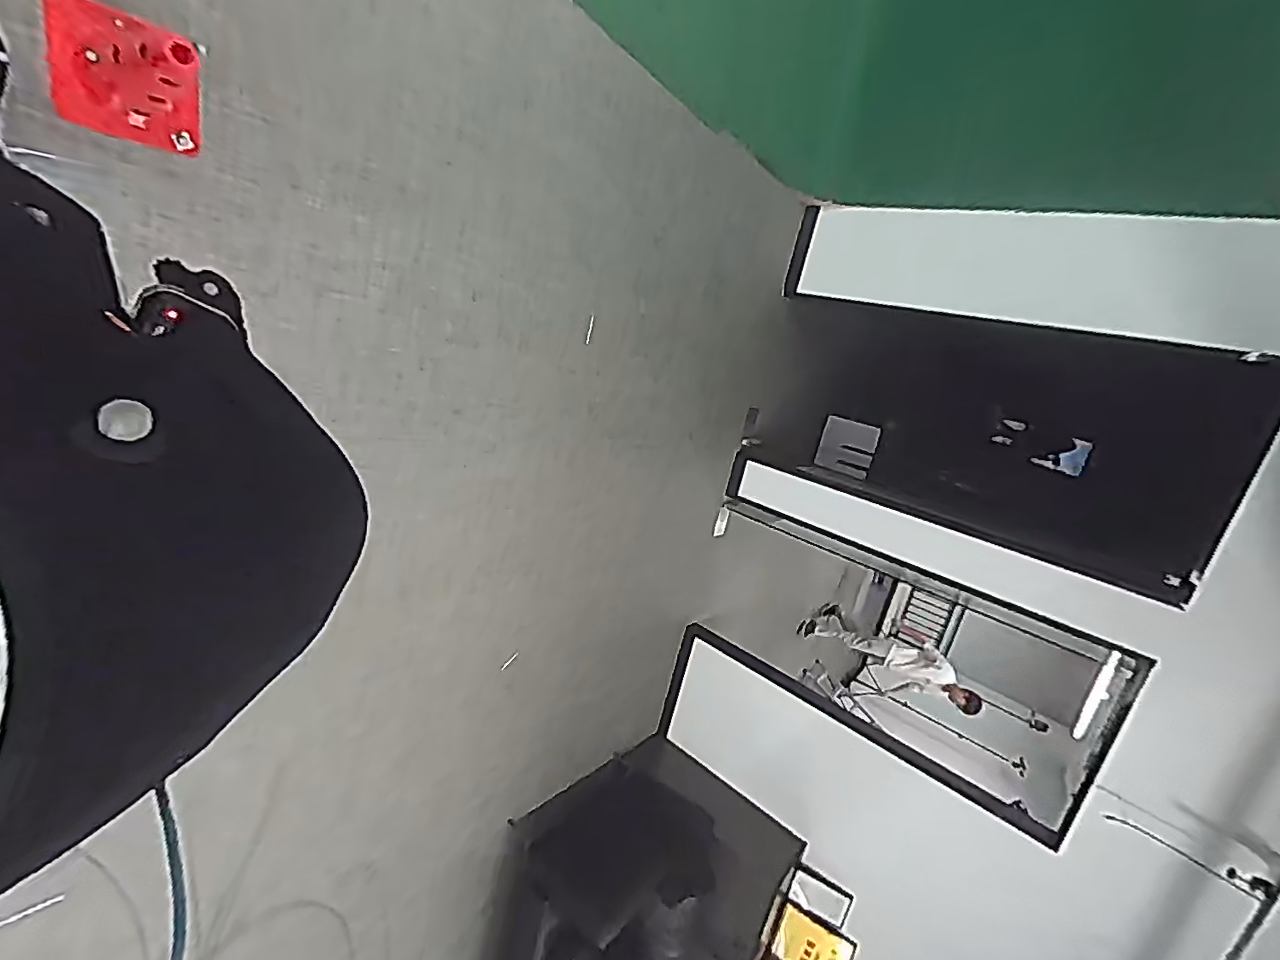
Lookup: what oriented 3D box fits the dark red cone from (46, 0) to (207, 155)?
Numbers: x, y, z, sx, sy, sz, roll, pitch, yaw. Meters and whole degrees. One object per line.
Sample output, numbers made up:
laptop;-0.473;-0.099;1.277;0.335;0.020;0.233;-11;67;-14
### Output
dark red cone;-0.771;-0.660;0.859;0.202;0.394;0.201;-11;116;-49
